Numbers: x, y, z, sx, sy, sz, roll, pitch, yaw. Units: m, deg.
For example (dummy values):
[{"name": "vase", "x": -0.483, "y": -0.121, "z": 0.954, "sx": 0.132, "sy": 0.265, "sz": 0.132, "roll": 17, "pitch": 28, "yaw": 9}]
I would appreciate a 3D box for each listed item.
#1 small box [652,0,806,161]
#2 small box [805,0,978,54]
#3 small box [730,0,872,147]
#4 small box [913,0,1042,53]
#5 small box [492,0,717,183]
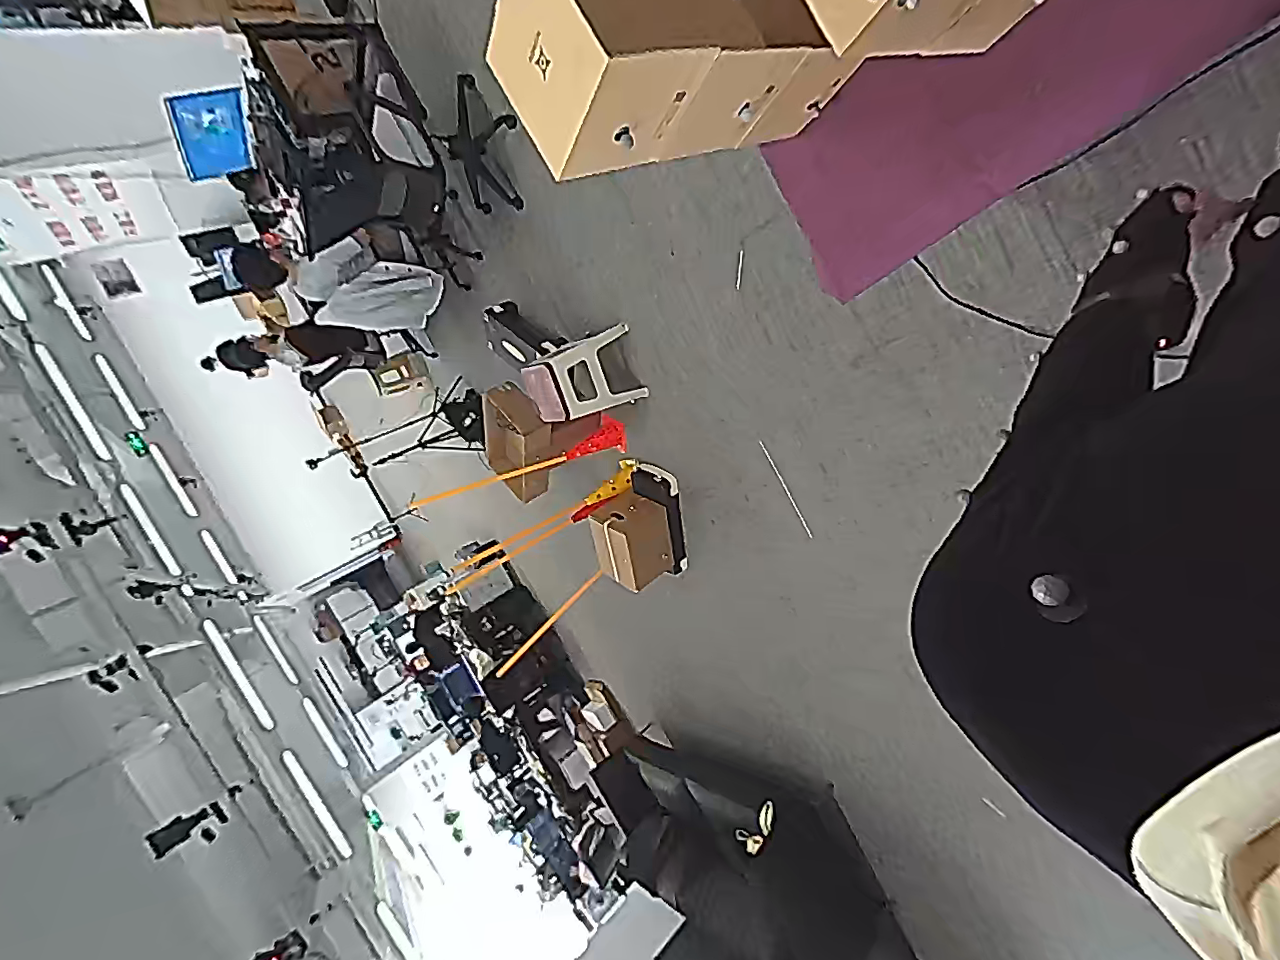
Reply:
[{"name": "small box", "x": 0.078, "y": -0.562, "z": 0.711, "sx": 0.179, "sy": 0.176, "sz": 0.168, "roll": 59, "pitch": 150, "yaw": -1}, {"name": "small box", "x": 0.247, "y": -0.531, "z": 0.490, "sx": 0.179, "sy": 0.176, "sz": 0.168, "roll": 61, "pitch": 150, "yaw": -1}, {"name": "small box", "x": 0.199, "y": -0.632, "z": 0.795, "sx": 0.179, "sy": 0.176, "sz": 0.168, "roll": 59, "pitch": 150, "yaw": -1}, {"name": "small box", "x": 0.370, "y": -0.600, "z": 0.574, "sx": 0.179, "sy": 0.176, "sz": 0.168, "roll": 60, "pitch": 150, "yaw": -2}, {"name": "small box", "x": -0.042, "y": -0.491, "z": 0.629, "sx": 0.179, "sy": 0.176, "sz": 0.168, "roll": 60, "pitch": 150, "yaw": 0}]
